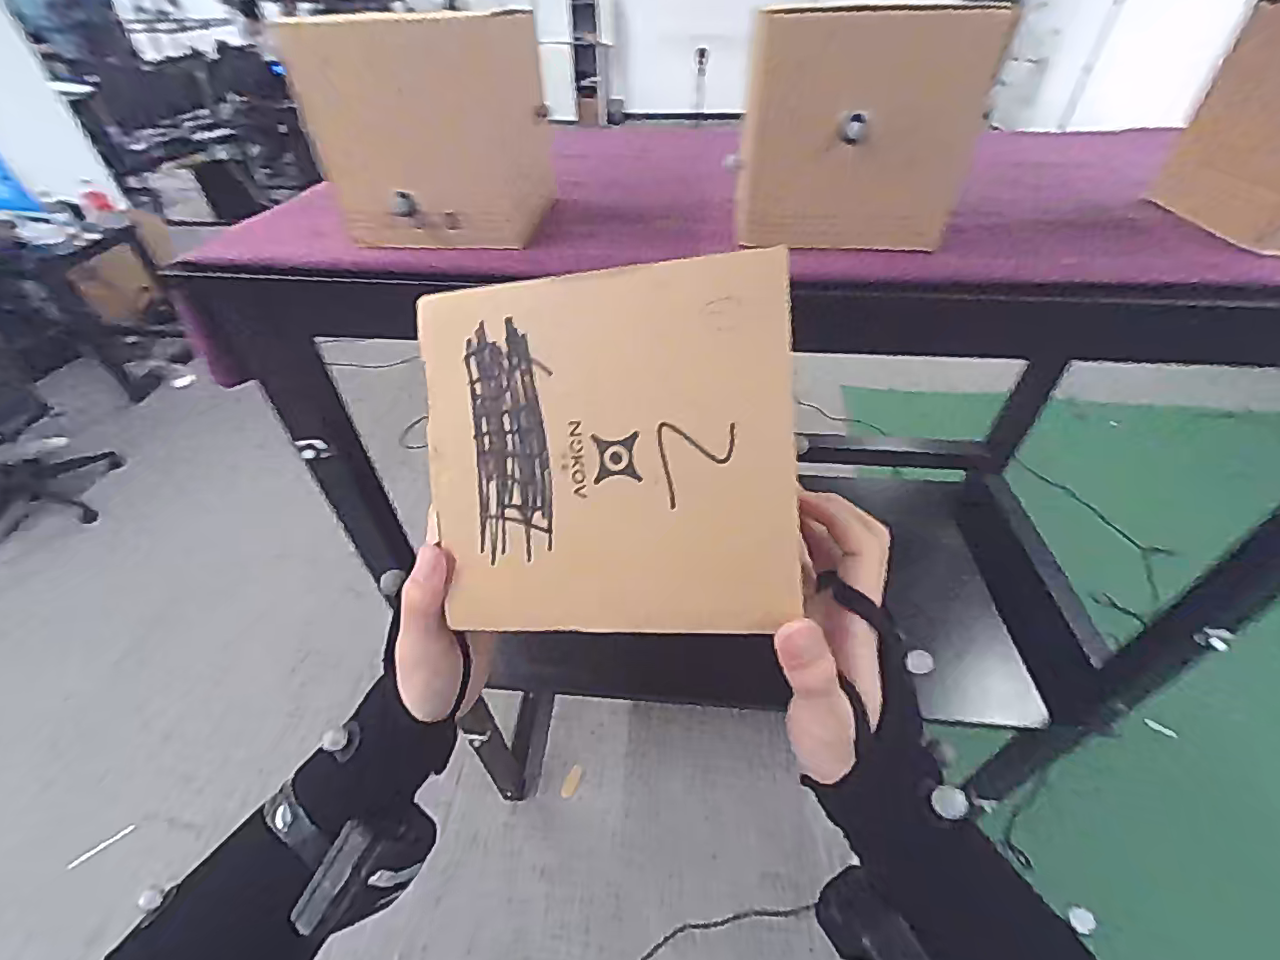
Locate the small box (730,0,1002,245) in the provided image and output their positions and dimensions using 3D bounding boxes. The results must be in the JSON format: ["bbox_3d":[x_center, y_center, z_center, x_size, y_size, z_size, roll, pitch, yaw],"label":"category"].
[{"bbox_3d":[0.178,-0.325,0.494,0.179,0.176,0.168,3,42,6],"label":"small box"}]

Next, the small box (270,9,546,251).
[{"bbox_3d":[-0.191,-0.333,0.513,0.168,0.176,0.179,1,43,3],"label":"small box"}]
